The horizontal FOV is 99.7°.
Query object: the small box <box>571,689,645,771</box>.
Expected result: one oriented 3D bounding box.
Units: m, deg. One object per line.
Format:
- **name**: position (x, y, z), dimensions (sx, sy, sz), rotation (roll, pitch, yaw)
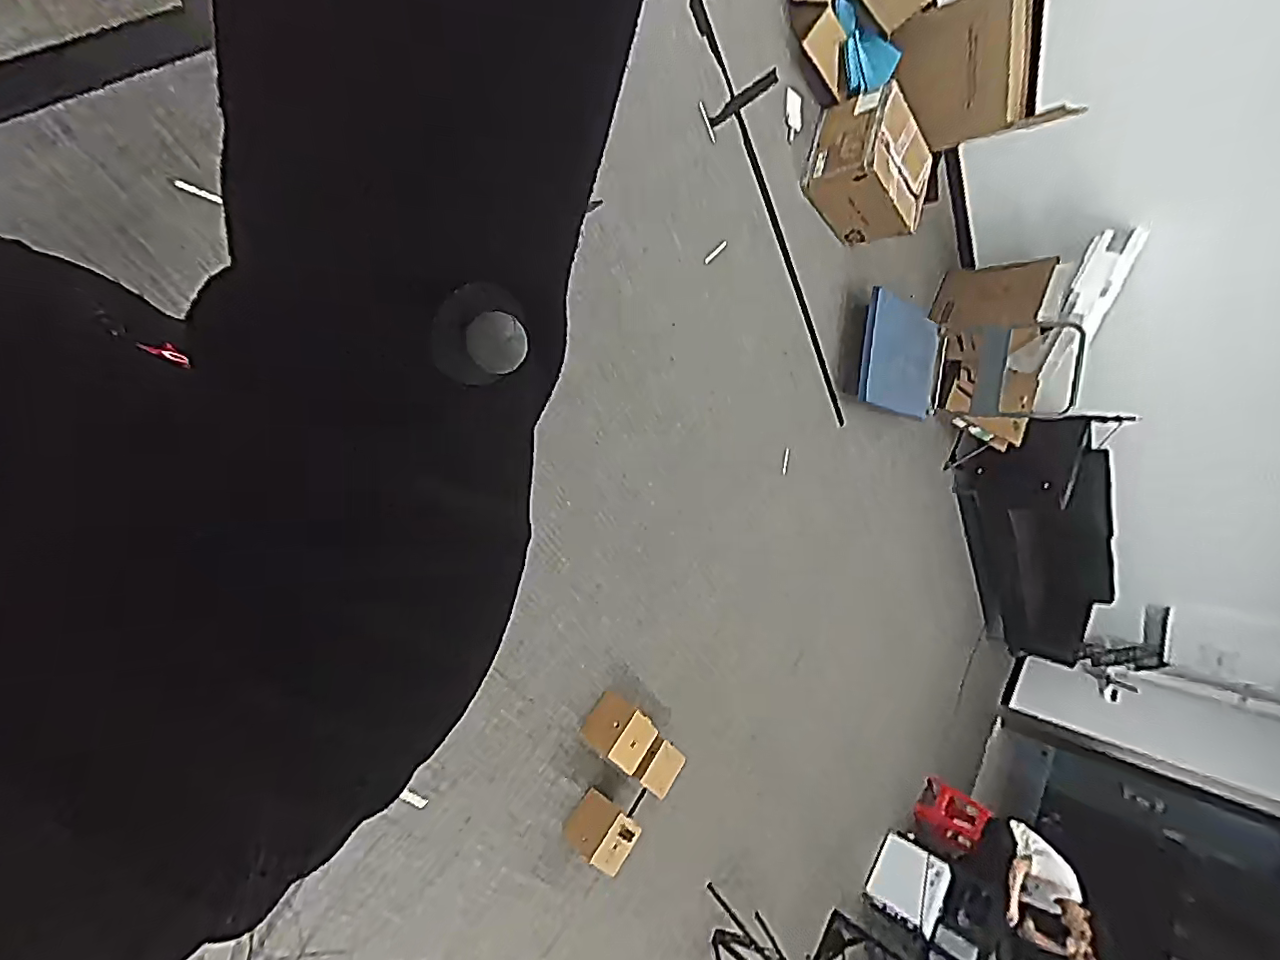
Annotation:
- **small box**: position (-0.122, 0.880, 1.912), dimensions (0.179, 0.176, 0.168), rotation (-52, 127, -26)
